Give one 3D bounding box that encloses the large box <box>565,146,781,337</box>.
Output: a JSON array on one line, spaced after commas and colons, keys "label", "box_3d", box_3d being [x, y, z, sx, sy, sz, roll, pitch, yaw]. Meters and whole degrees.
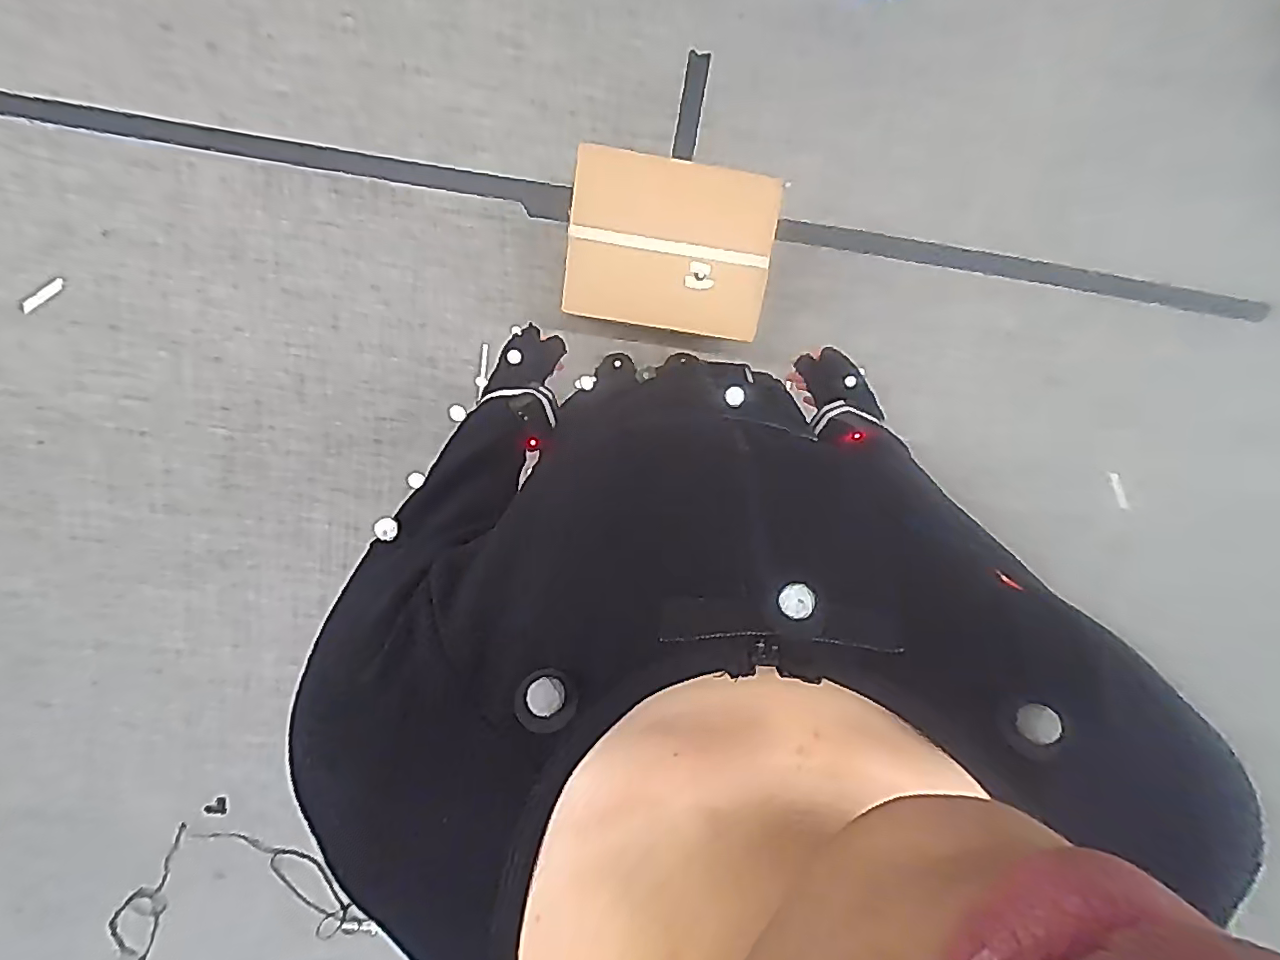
[{"label": "large box", "box_3d": [0.053, -0.504, 1.220, 0.408, 0.320, 0.320, 7, 105, -5]}]
